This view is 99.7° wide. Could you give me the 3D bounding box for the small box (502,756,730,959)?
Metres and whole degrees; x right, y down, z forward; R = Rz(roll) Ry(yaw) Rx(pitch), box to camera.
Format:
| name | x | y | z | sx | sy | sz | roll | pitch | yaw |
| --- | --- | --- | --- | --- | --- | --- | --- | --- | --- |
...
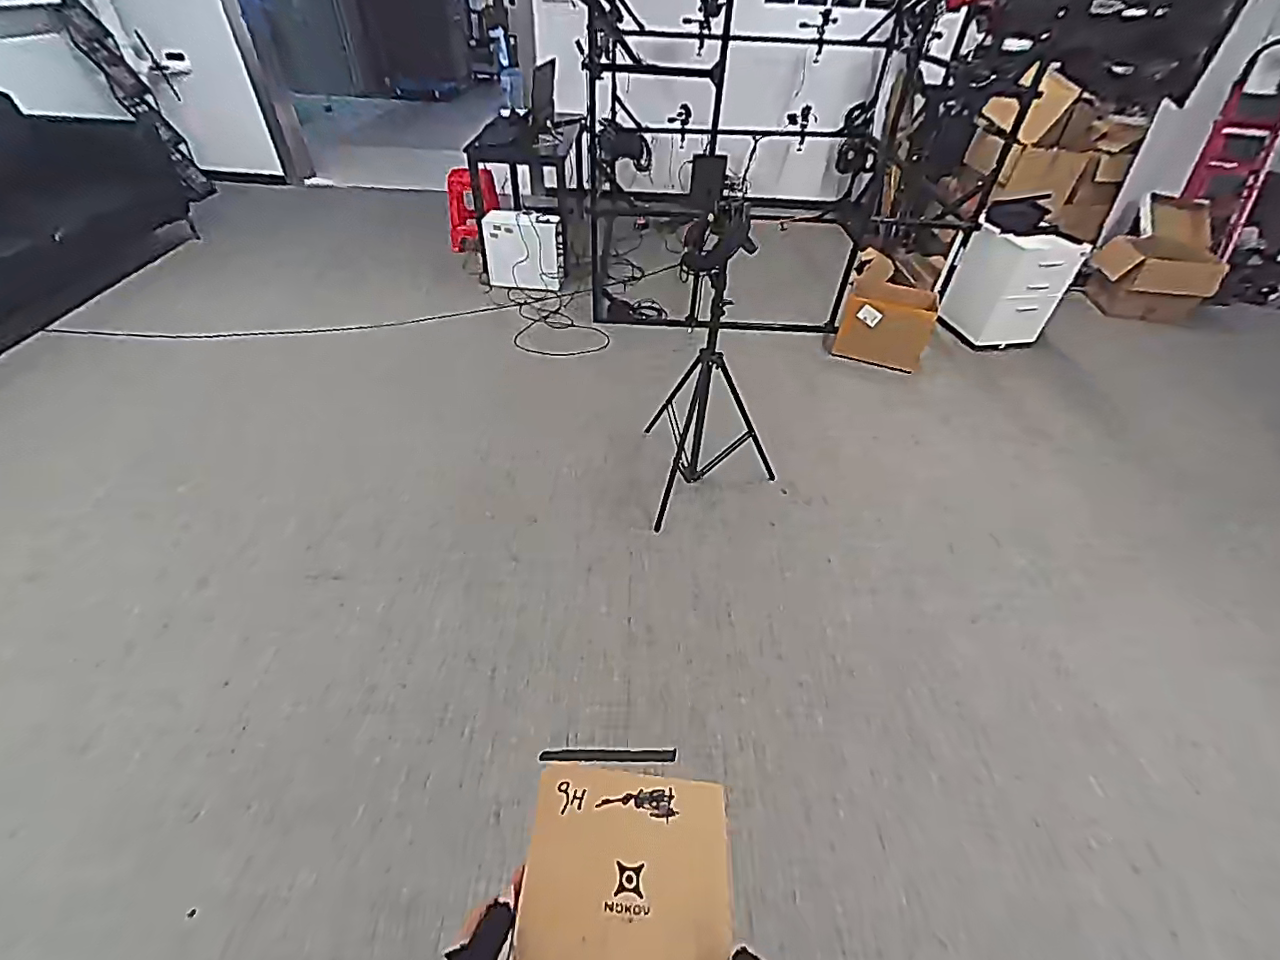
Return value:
| name | x | y | z | sx | sy | sz | roll | pitch | yaw |
| --- | --- | --- | --- | --- | --- | --- | --- | --- | --- |
| small box | -0.025 | 0.367 | 0.468 | 0.168 | 0.176 | 0.179 | 10 | 45 | -5 |
